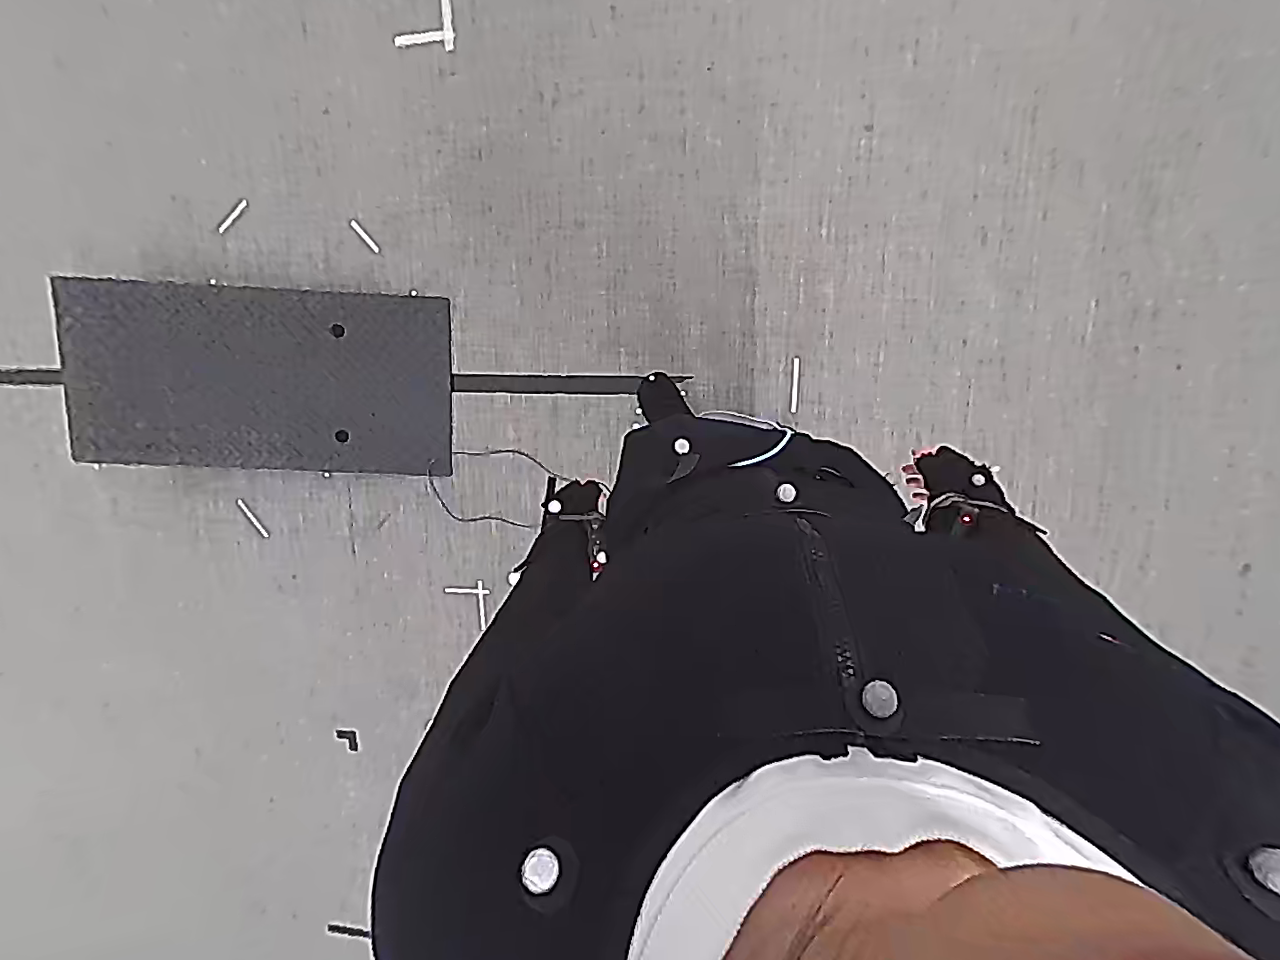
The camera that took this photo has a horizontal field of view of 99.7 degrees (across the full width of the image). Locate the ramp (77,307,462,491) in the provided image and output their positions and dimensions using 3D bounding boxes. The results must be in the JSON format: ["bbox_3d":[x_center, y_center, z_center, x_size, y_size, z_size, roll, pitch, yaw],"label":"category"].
[{"bbox_3d":[-1.005,-0.216,1.498,0.991,0.206,0.509,1,97,7],"label":"ramp"}]
